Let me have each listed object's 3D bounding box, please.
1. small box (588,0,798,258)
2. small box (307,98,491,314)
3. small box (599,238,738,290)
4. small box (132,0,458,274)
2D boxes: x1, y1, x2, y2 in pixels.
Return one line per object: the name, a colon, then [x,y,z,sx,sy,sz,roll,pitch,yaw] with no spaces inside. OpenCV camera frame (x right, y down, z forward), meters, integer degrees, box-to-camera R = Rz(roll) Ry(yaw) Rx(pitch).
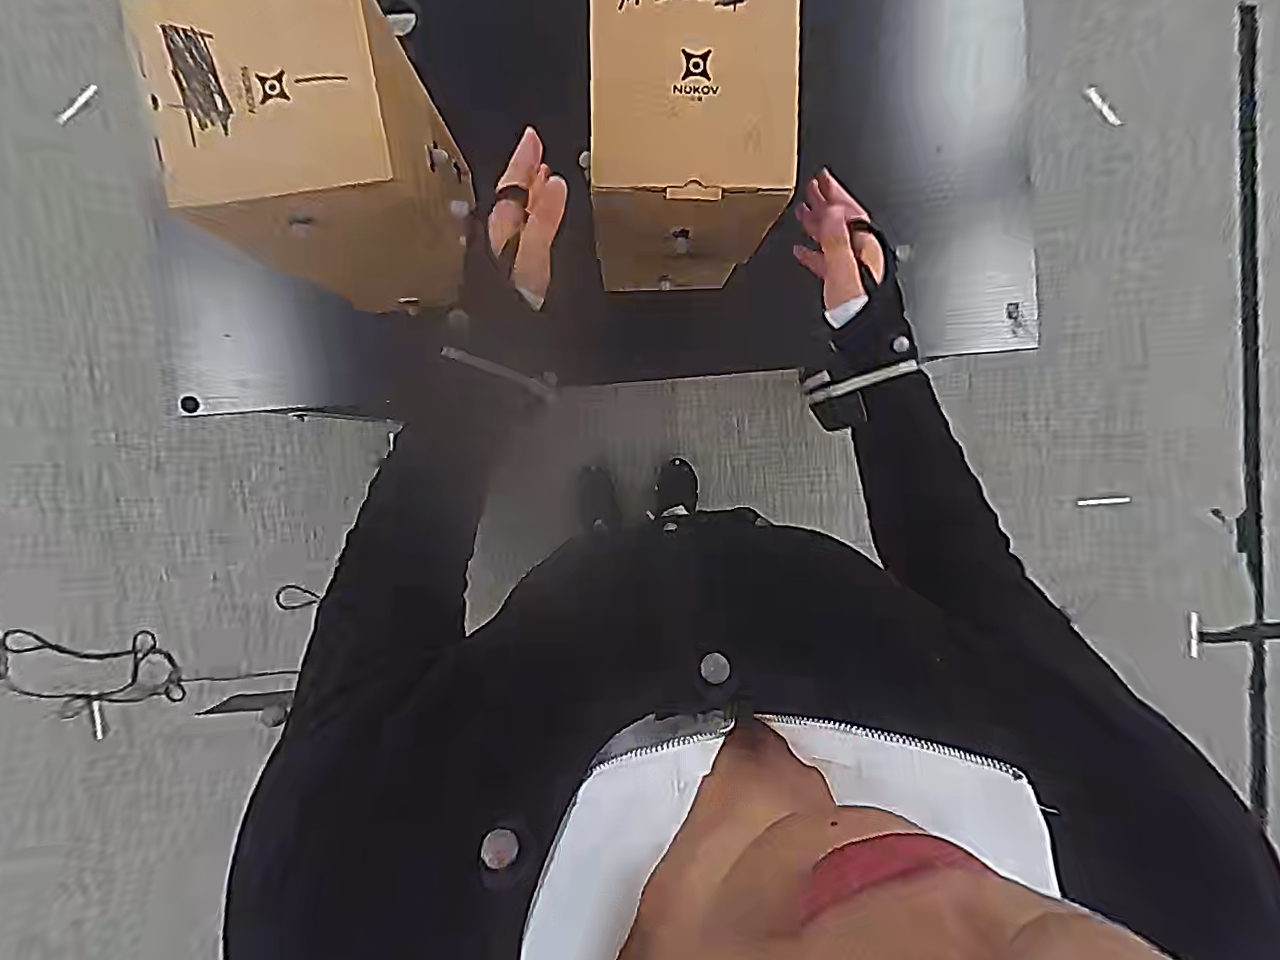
small box: [0.039,-0.320,0.505,0.168,0.176,0.179,0,95,-2]
small box: [-0.293,-0.318,0.658,0.168,0.176,0.179,-9,95,0]
small box: [0.031,-0.349,0.667,0.168,0.176,0.179,-2,93,-2]
small box: [-0.289,-0.304,0.494,0.179,0.176,0.168,-10,94,-1]
